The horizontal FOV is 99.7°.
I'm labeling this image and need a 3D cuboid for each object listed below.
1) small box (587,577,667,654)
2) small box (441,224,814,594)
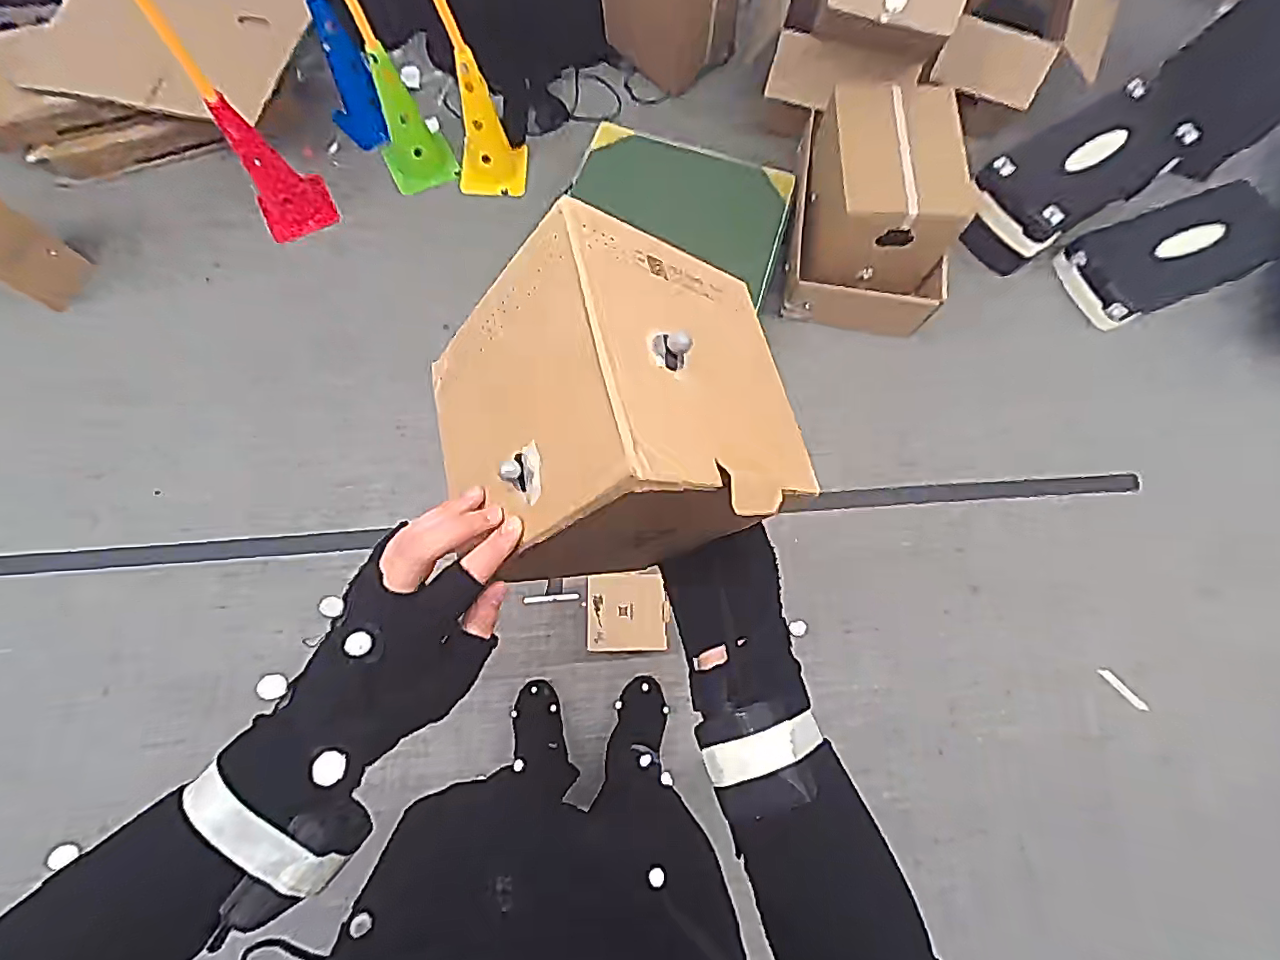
[{"bbox_3d":[-0.033,0.321,1.273,0.179,0.176,0.168,1,73,-3],"label":"small box"},{"bbox_3d":[-0.019,-0.033,0.368,0.168,0.179,0.176,3,66,-45],"label":"small box"}]
